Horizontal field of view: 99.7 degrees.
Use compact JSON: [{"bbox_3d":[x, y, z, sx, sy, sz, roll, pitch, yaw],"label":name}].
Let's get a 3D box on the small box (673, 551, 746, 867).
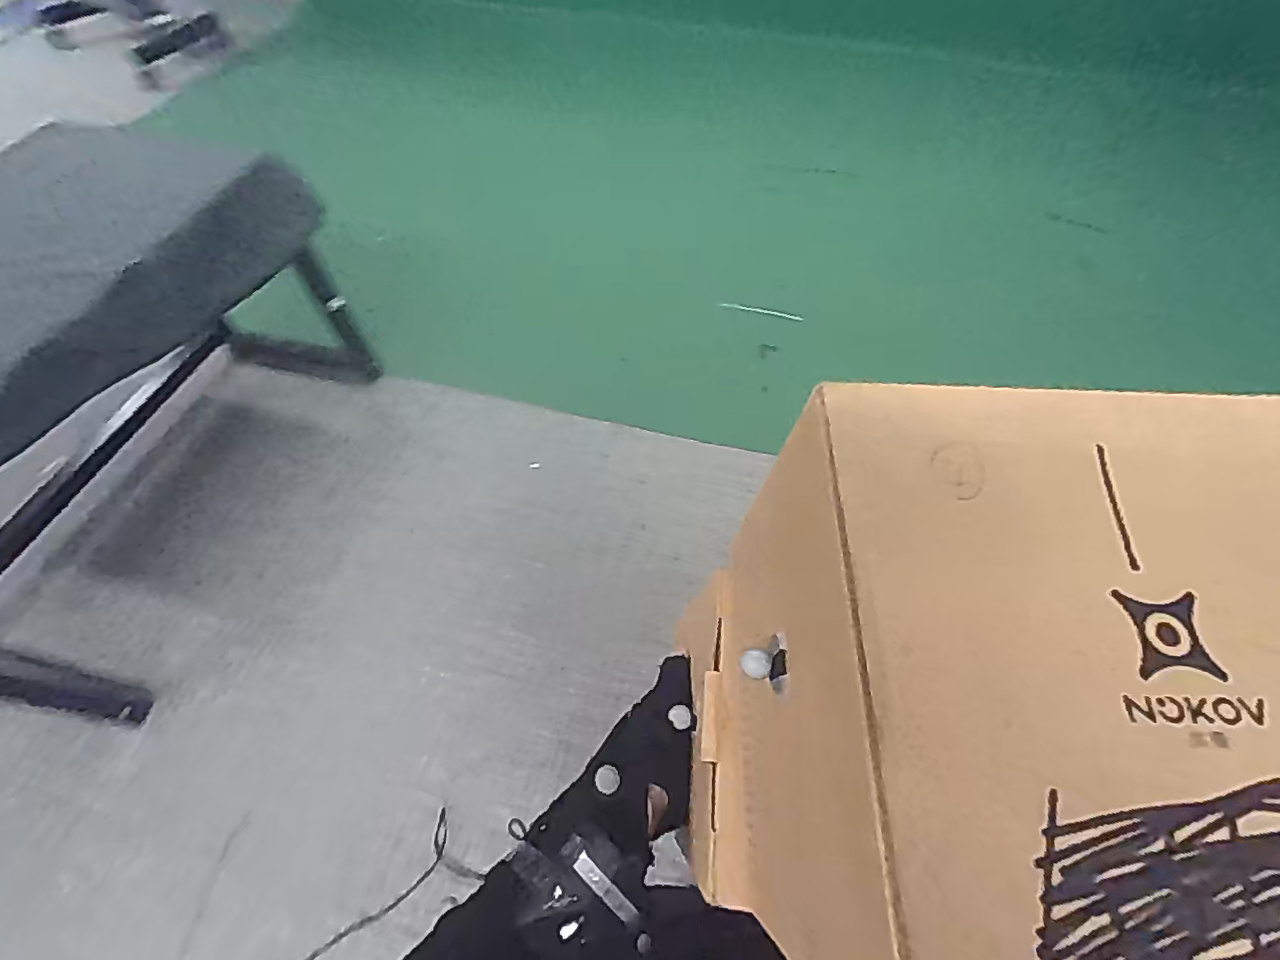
[{"bbox_3d":[0.115,0.157,0.367,0.179,0.176,0.168,3,62,-1],"label":"small box"}]
